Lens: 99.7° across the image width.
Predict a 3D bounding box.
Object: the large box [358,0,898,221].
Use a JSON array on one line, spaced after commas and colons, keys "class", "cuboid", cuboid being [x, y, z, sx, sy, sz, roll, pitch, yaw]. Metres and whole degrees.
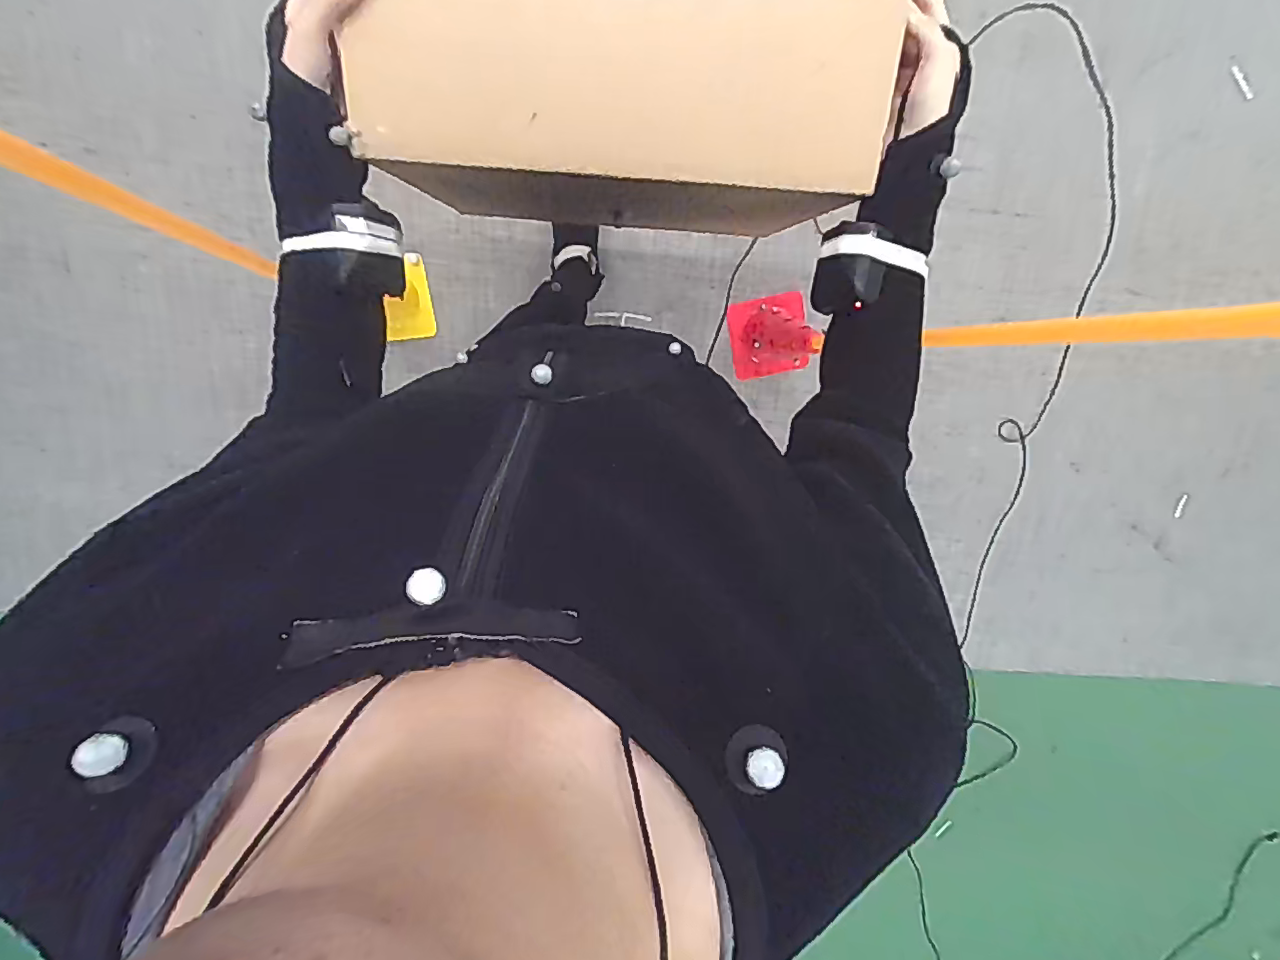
[{"class": "large box", "cuboid": [-0.008, -0.442, 0.523, 0.408, 0.320, 0.320, 2, 108, -3]}]
